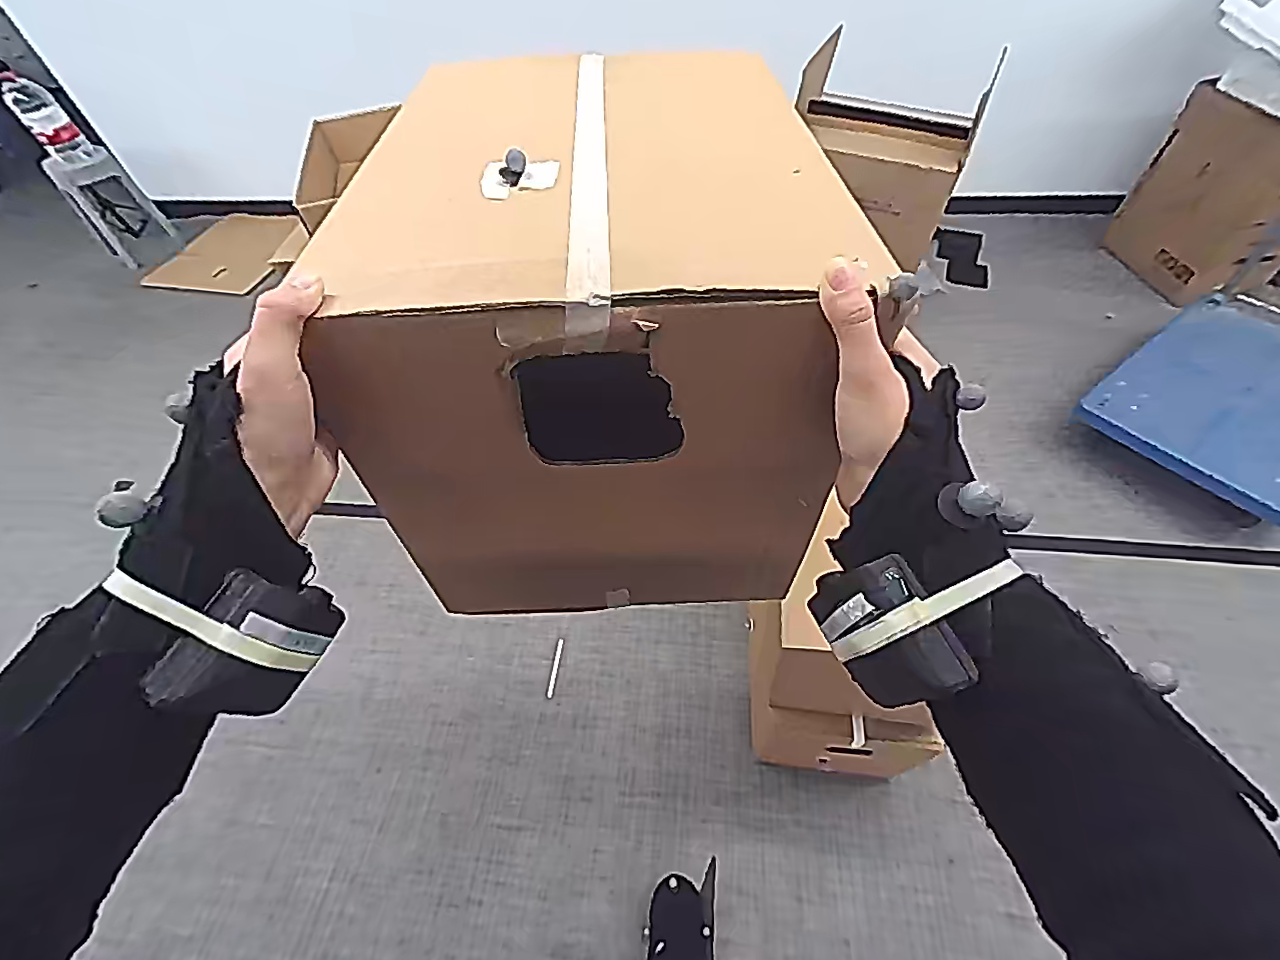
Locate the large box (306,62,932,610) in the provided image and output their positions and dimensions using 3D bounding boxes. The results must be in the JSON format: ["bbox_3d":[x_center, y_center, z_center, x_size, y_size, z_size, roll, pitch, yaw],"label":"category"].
[{"bbox_3d":[-0.021,-0.136,0.497,0.320,0.320,0.408,-4,51,-1],"label":"large box"}]
